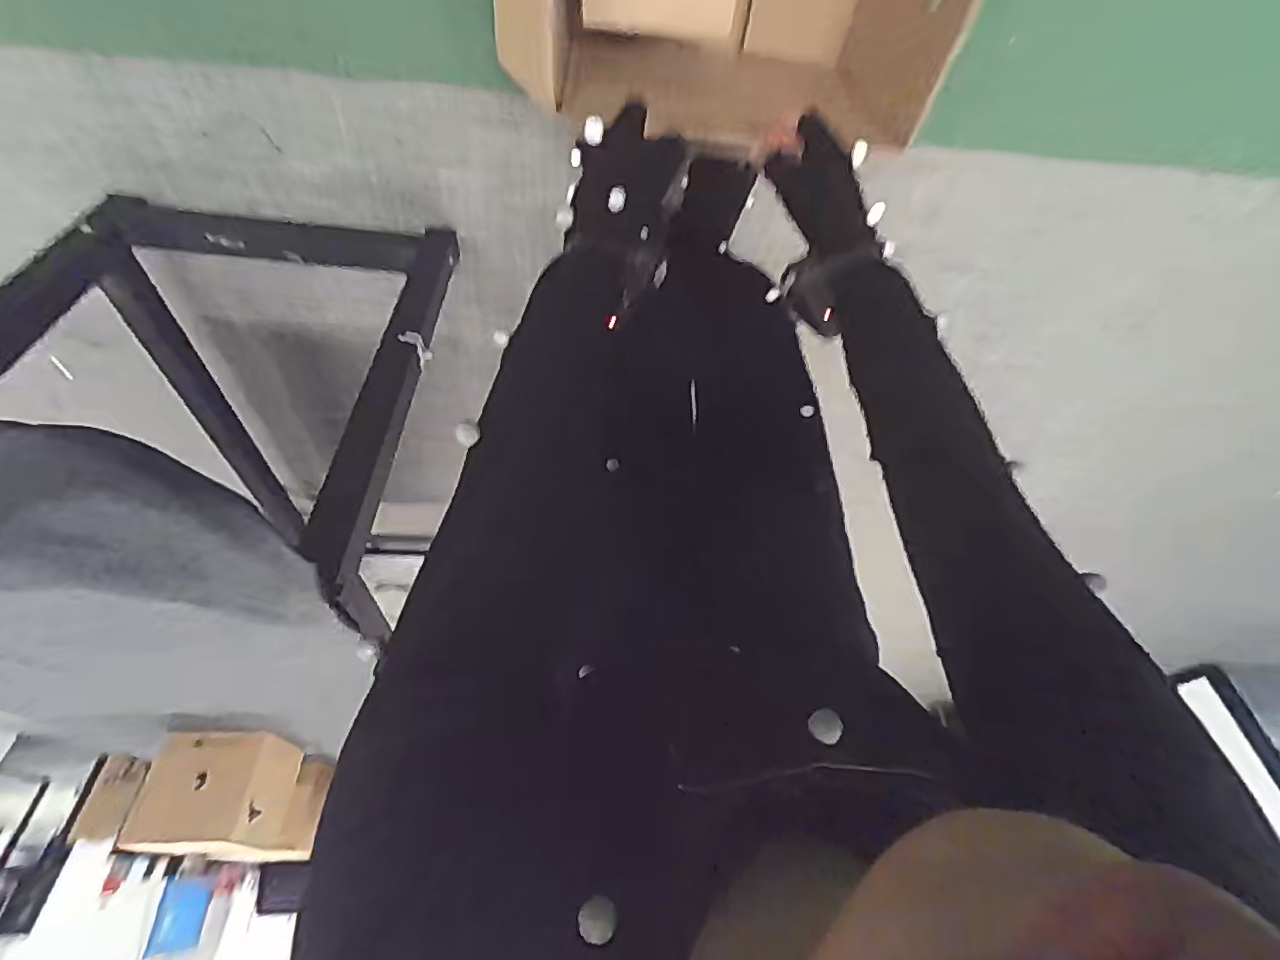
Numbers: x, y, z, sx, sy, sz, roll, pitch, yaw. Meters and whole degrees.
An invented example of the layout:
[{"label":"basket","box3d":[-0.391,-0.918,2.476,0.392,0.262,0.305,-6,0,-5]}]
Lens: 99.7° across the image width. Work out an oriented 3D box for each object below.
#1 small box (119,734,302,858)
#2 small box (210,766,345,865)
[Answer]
[{"label":"small box","box3d":[-0.738,0.556,0.955,0.168,0.176,0.179,2,142,-5]},{"label":"small box","box3d":[-0.777,0.729,1.181,0.168,0.176,0.179,1,143,-5]}]
